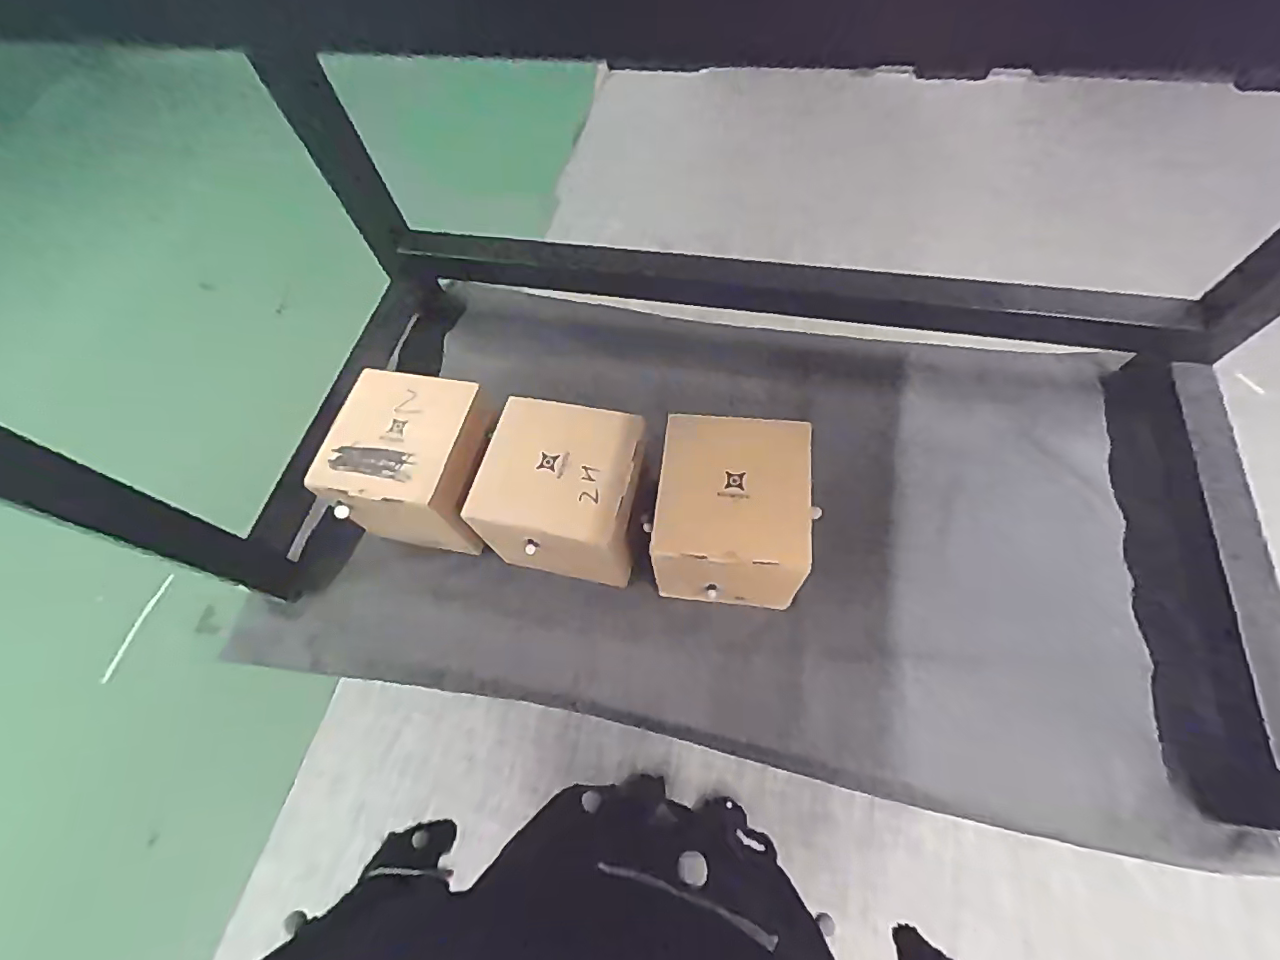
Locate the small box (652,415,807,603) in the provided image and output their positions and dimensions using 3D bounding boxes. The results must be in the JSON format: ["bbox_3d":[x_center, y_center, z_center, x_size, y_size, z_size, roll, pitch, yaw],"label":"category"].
[{"bbox_3d":[0.109,0.041,0.674,0.168,0.176,0.179,4,64,8],"label":"small box"}]
